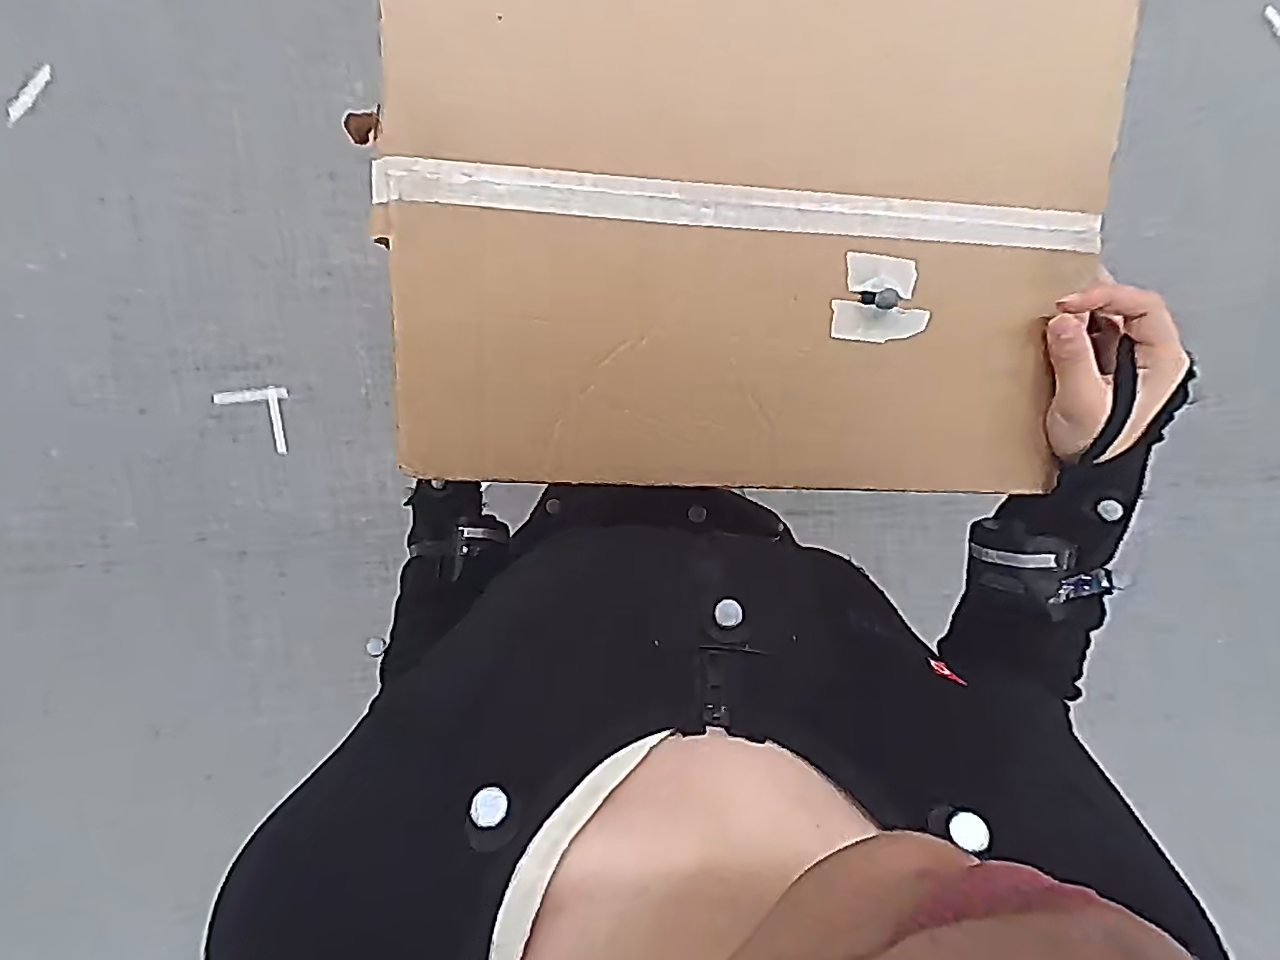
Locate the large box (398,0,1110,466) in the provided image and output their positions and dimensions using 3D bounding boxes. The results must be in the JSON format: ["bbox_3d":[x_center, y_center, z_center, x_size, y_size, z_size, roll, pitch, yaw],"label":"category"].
[{"bbox_3d":[0.052,-0.186,0.454,0.408,0.320,0.320,1,100,-8],"label":"large box"}]
